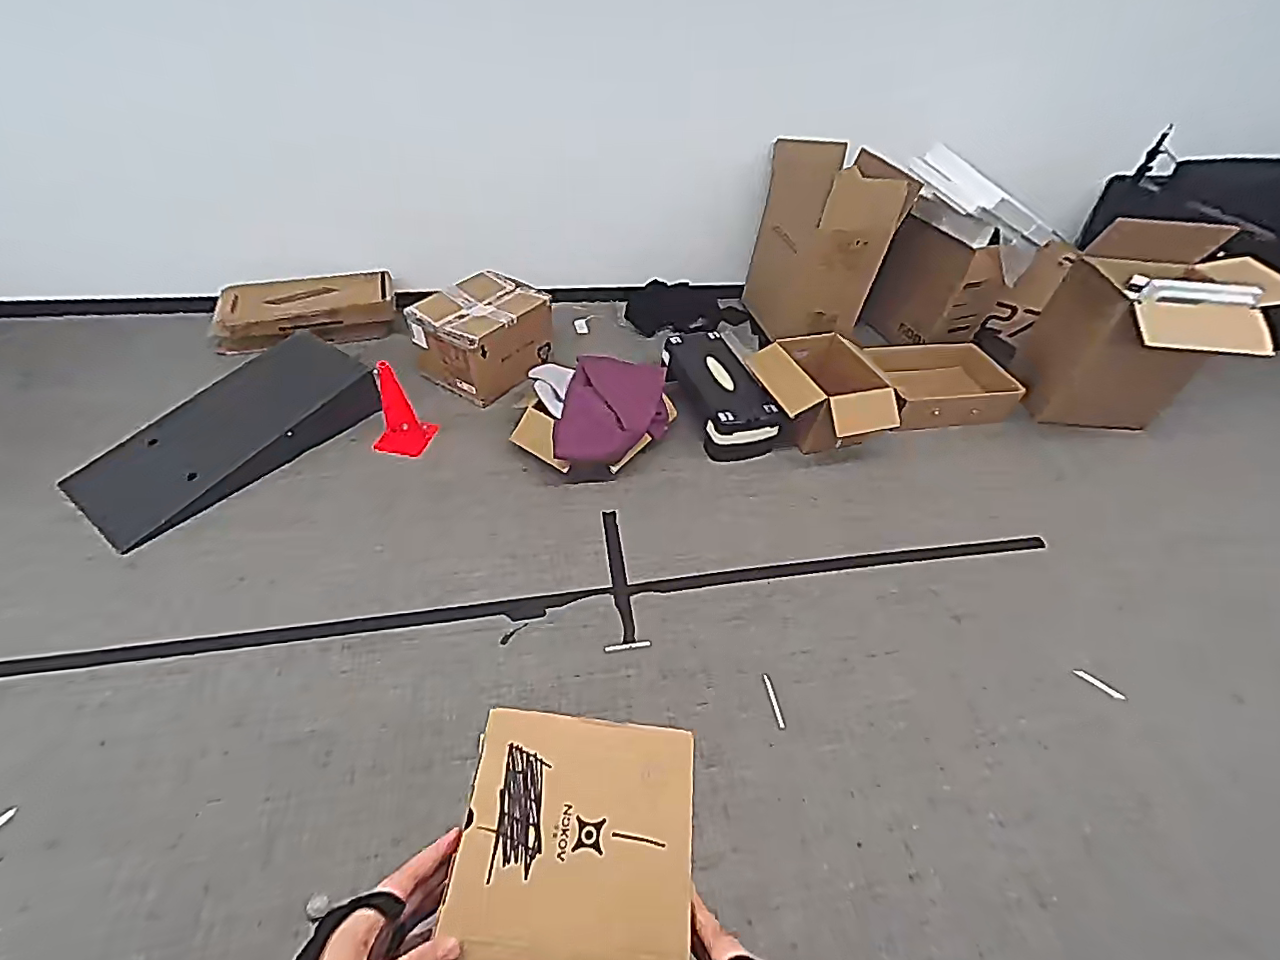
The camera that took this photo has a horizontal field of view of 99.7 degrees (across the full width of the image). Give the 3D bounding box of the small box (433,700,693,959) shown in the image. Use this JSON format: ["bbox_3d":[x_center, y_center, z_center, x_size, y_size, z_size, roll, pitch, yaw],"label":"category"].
[{"bbox_3d":[-0.054,0.311,0.473,0.179,0.176,0.168,7,50,-2],"label":"small box"}]
